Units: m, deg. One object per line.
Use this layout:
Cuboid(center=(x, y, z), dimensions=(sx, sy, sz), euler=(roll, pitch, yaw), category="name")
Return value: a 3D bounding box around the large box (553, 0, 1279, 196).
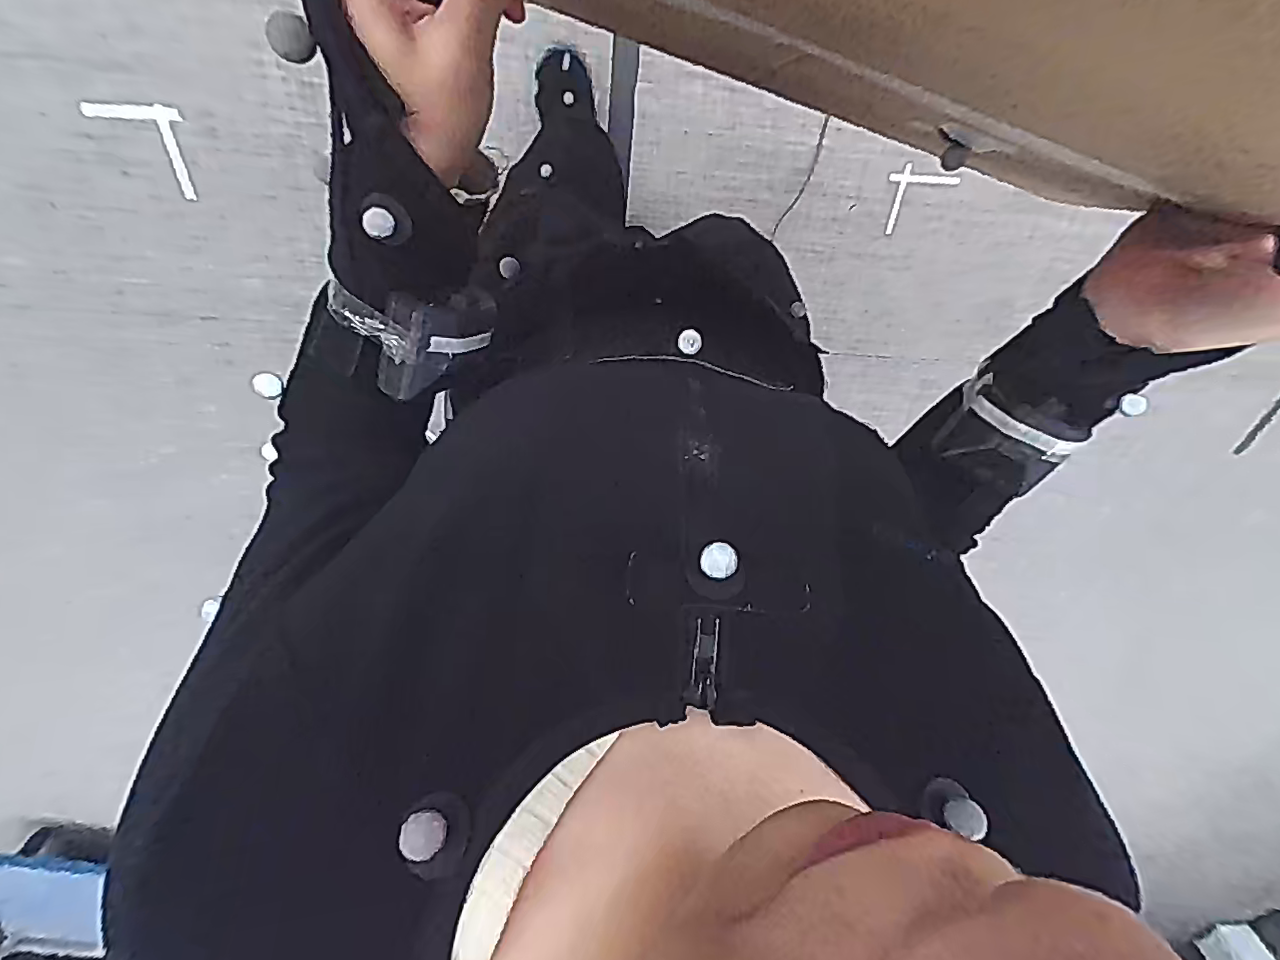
Cuboid(center=(0.135, -0.302, 0.141), dimensions=(0.408, 0.320, 0.320), euler=(12, 121, -8), category="large box")
